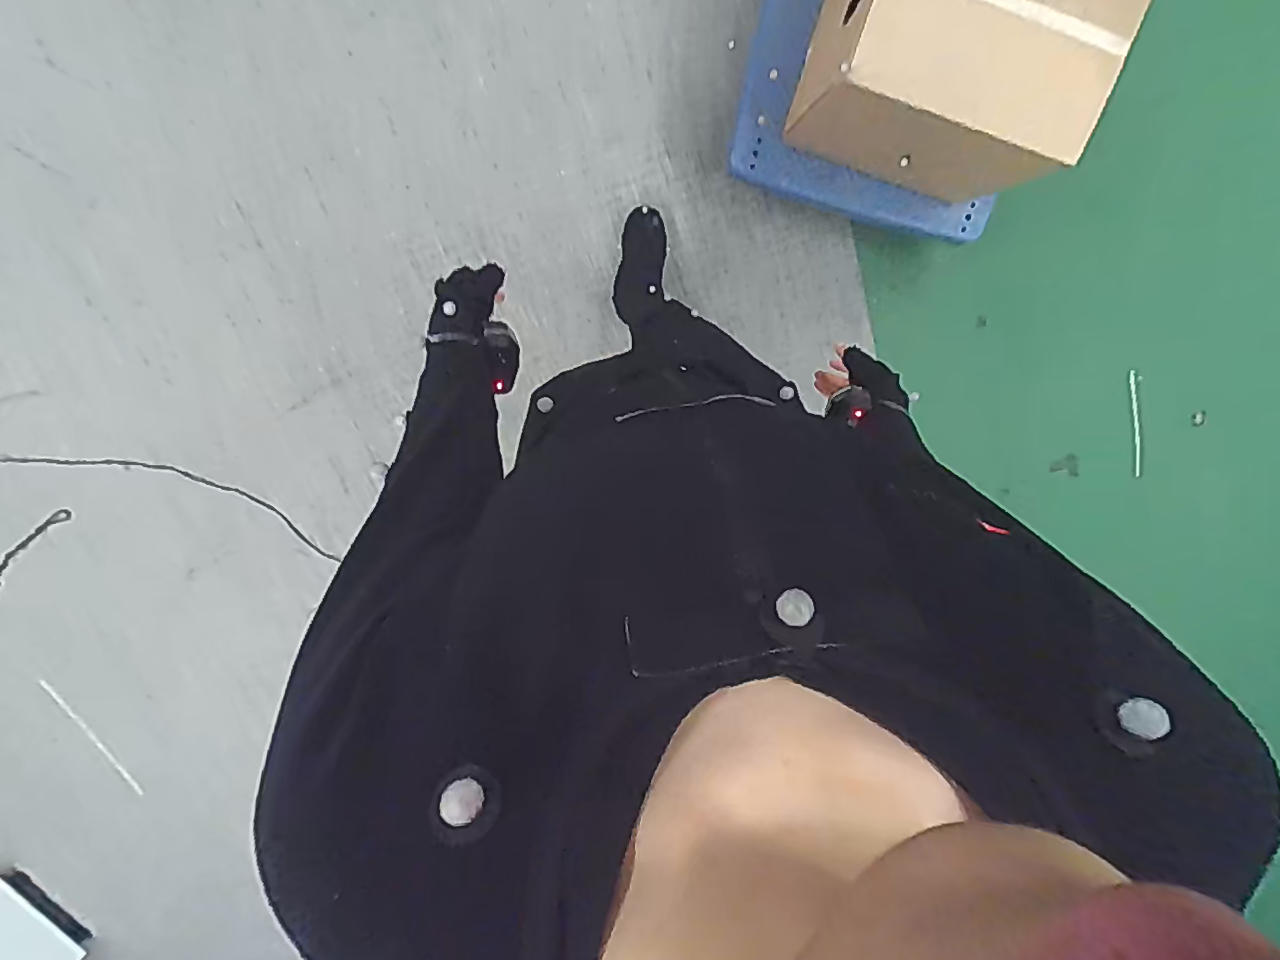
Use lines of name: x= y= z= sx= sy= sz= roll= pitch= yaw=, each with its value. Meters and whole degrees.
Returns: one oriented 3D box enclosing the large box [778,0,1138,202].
large box: x=0.512 y=-0.721 z=0.931 sx=0.408 sy=0.320 sz=0.320 roll=15 pitch=105 yaw=-7
